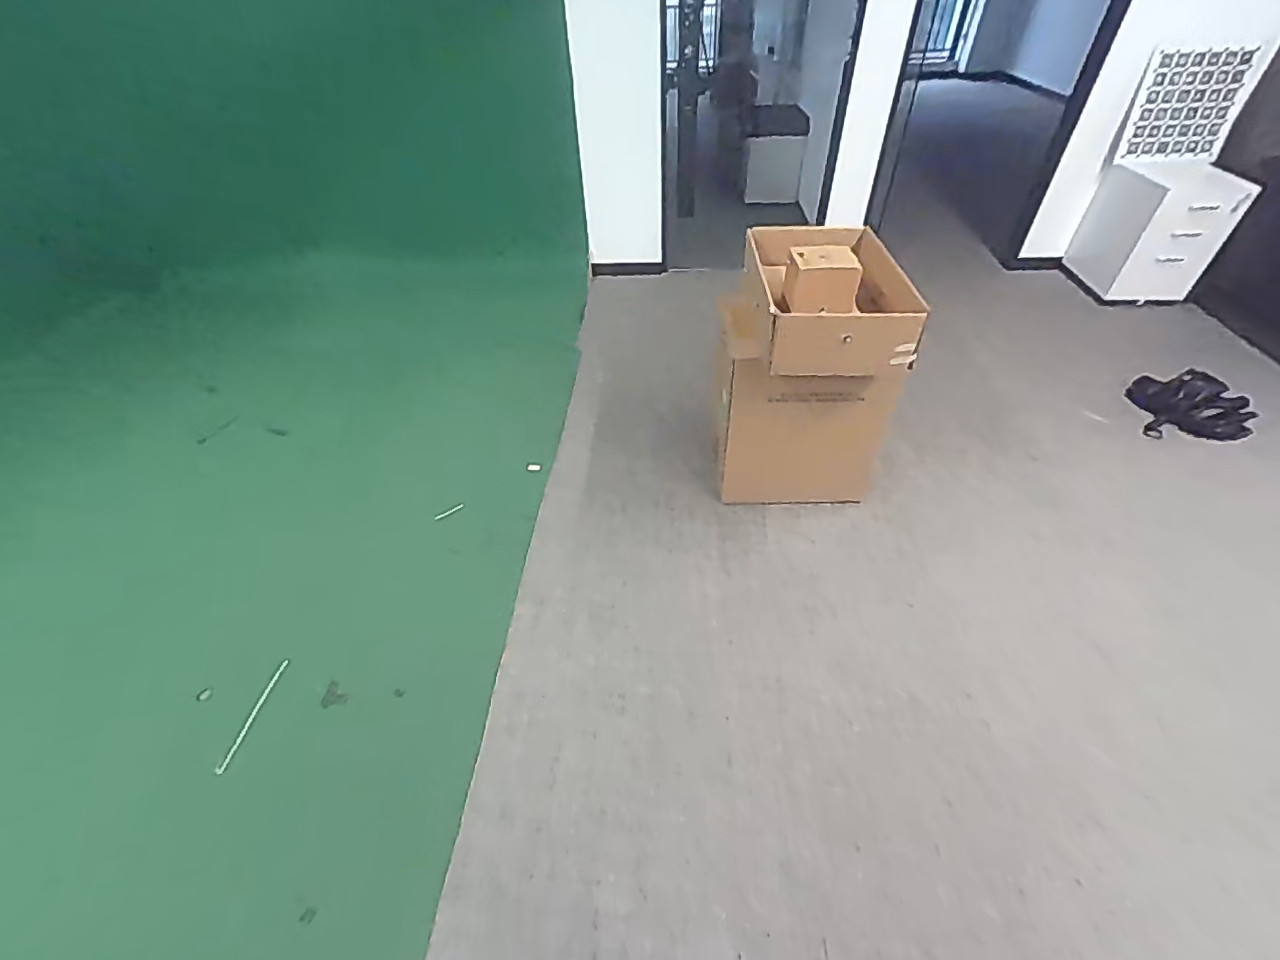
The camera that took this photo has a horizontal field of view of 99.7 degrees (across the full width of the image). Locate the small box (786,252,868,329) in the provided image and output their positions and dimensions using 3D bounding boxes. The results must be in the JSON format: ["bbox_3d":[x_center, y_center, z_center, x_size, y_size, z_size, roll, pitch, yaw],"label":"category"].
[{"bbox_3d":[0.545,-0.560,1.602,0.179,0.176,0.168,0,42,1],"label":"small box"}]
